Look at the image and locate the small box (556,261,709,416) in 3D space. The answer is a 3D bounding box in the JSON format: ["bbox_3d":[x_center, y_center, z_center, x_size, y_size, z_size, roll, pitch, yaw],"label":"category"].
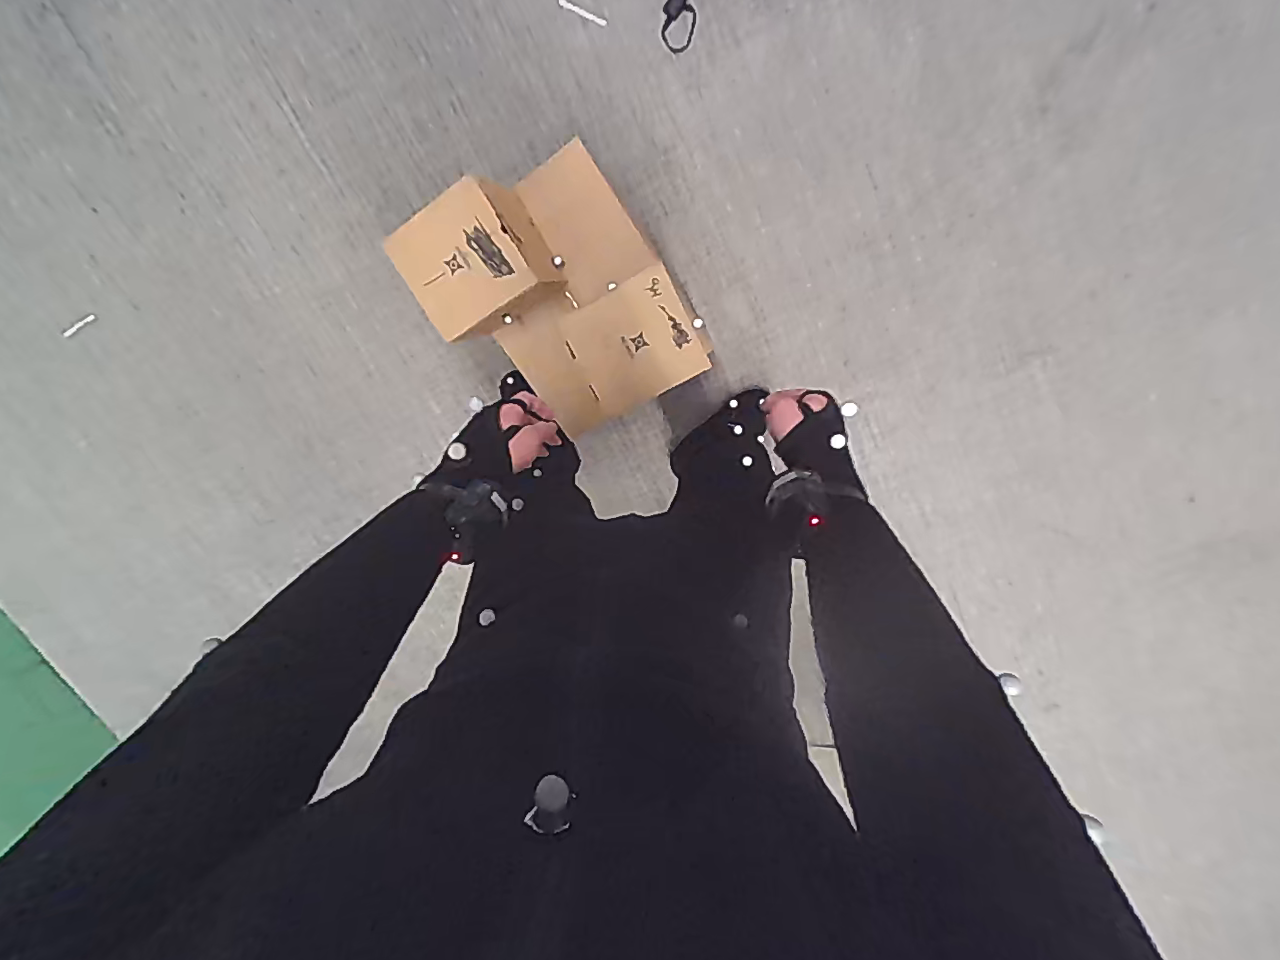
[{"bbox_3d":[-0.004,-0.220,0.852,0.179,0.176,0.168,-25,104,10],"label":"small box"}]

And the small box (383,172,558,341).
[{"bbox_3d":[-0.244,-0.336,0.836,0.179,0.176,0.168,-27,103,15],"label":"small box"}]
